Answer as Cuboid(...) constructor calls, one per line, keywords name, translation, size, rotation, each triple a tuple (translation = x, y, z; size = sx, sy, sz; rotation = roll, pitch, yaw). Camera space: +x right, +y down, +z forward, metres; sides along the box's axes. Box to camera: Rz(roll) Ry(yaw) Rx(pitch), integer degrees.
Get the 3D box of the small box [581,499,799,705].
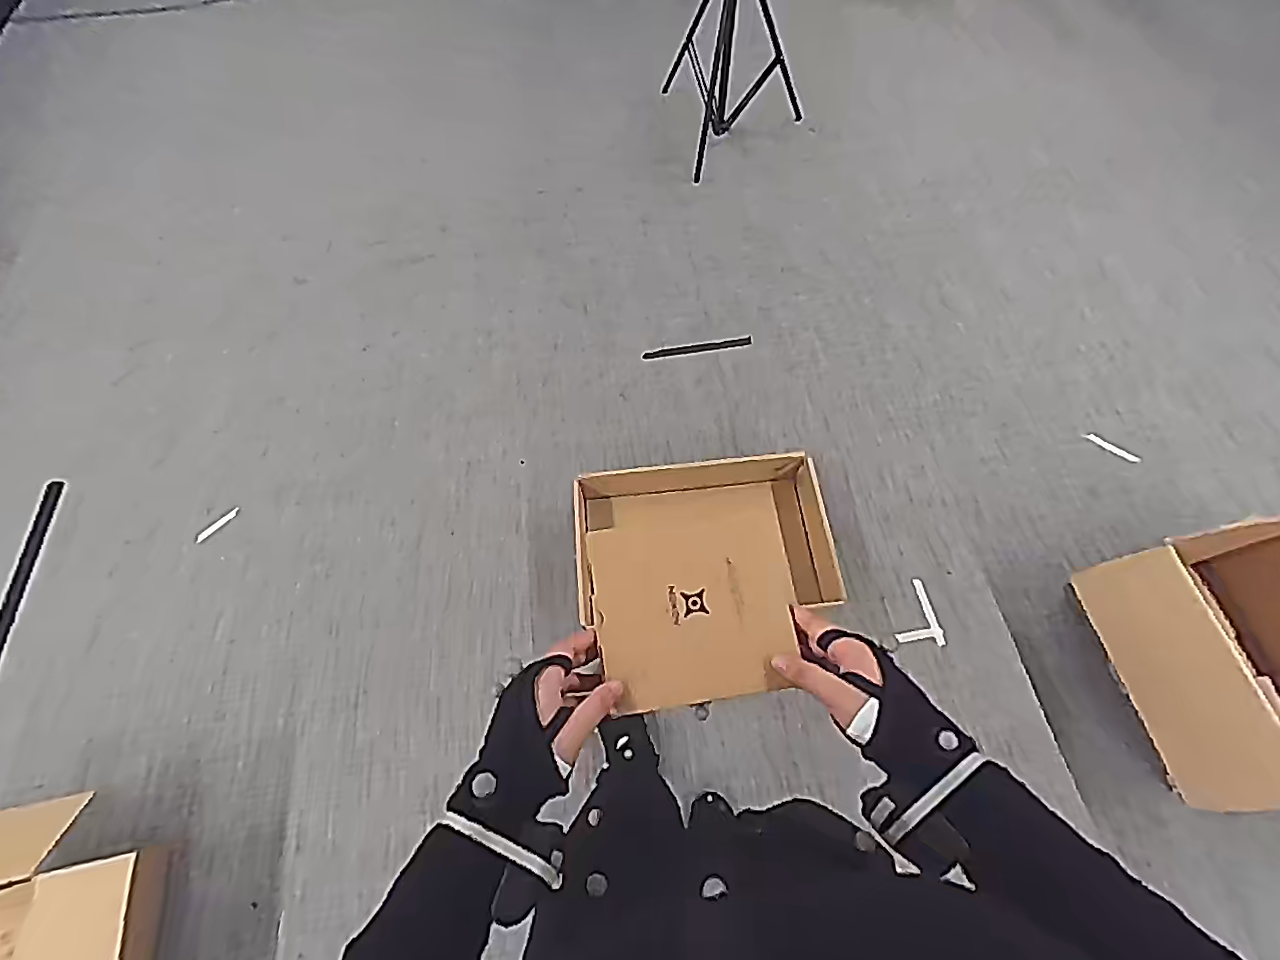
Cuboid(name="small box", translation=(0.042, 0.136, 0.566), size=(0.179, 0.176, 0.168), rotation=(-9, 68, -4))
